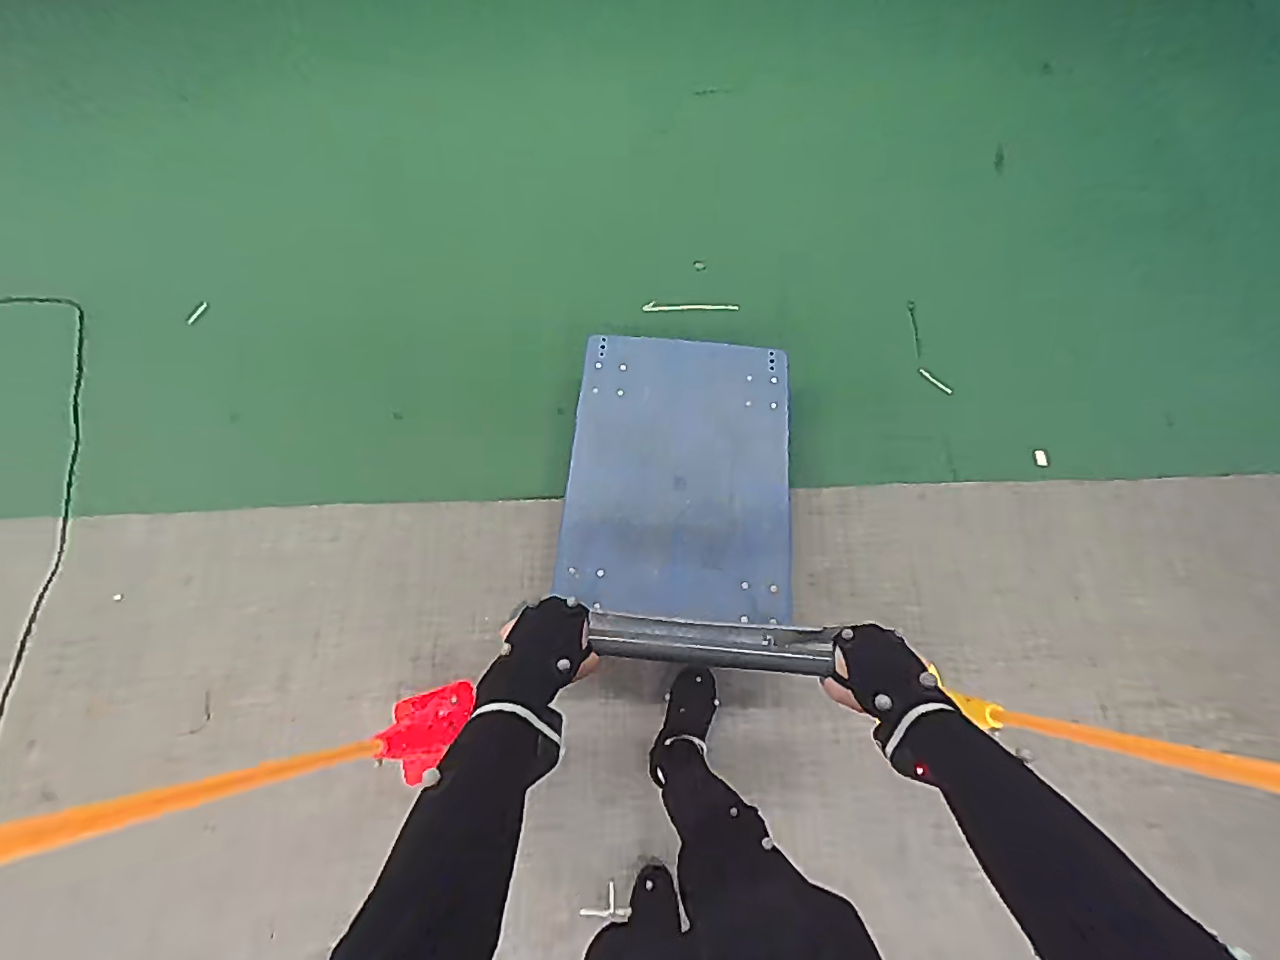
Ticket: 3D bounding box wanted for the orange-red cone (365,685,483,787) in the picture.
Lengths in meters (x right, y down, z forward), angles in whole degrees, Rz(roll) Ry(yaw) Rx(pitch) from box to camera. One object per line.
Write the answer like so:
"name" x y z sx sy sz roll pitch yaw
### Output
"orange-red cone" -0.494 0.565 1.167 0.199 0.360 0.198 -16 70 -5
